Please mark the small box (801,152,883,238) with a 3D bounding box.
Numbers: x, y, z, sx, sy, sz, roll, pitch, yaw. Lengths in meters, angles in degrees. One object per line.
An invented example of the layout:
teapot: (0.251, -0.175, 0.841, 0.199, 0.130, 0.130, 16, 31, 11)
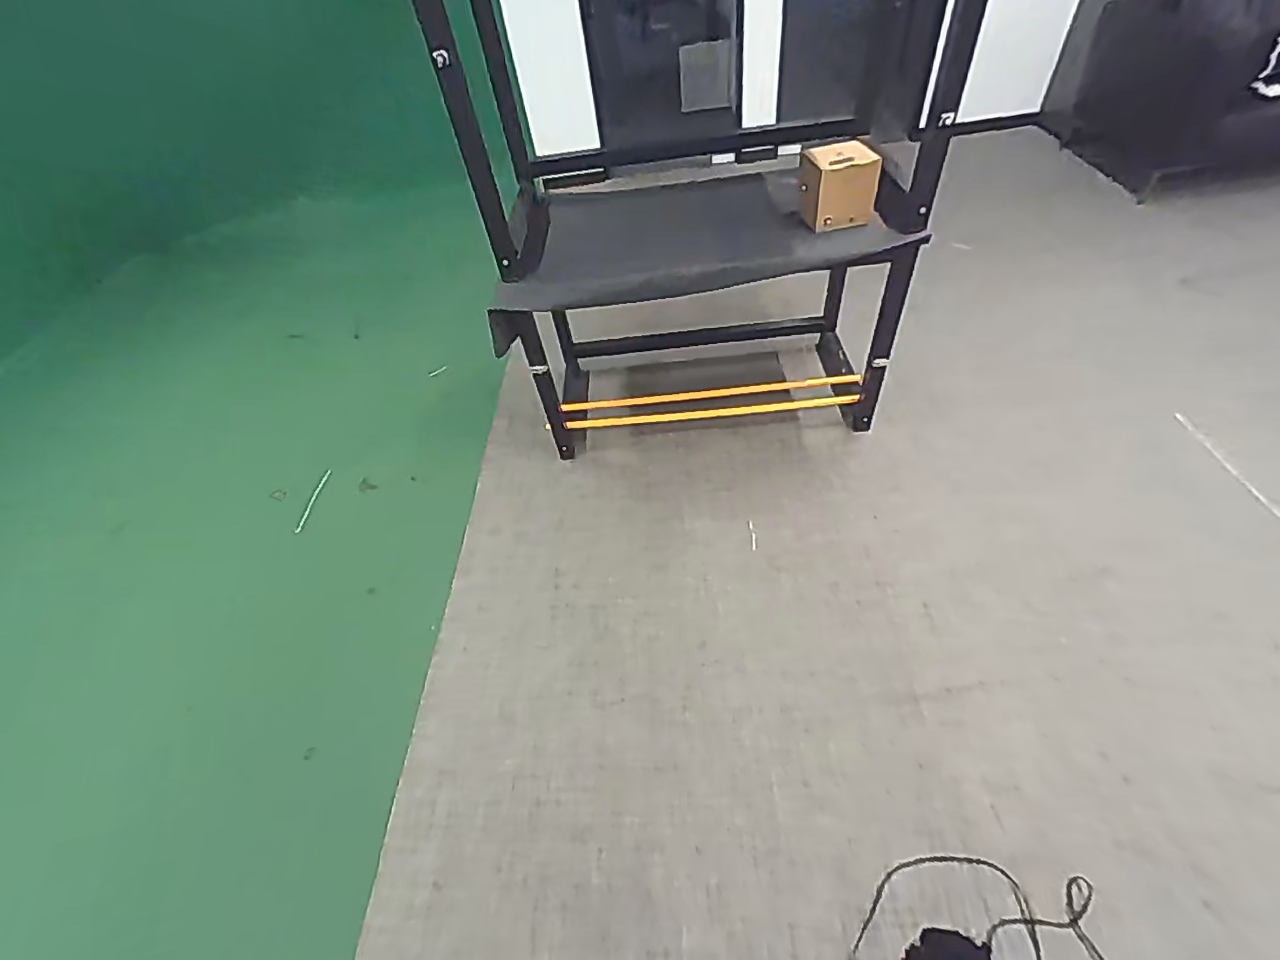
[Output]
small box: (0.574, -0.816, 1.563, 0.168, 0.176, 0.179, -10, 46, 1)
